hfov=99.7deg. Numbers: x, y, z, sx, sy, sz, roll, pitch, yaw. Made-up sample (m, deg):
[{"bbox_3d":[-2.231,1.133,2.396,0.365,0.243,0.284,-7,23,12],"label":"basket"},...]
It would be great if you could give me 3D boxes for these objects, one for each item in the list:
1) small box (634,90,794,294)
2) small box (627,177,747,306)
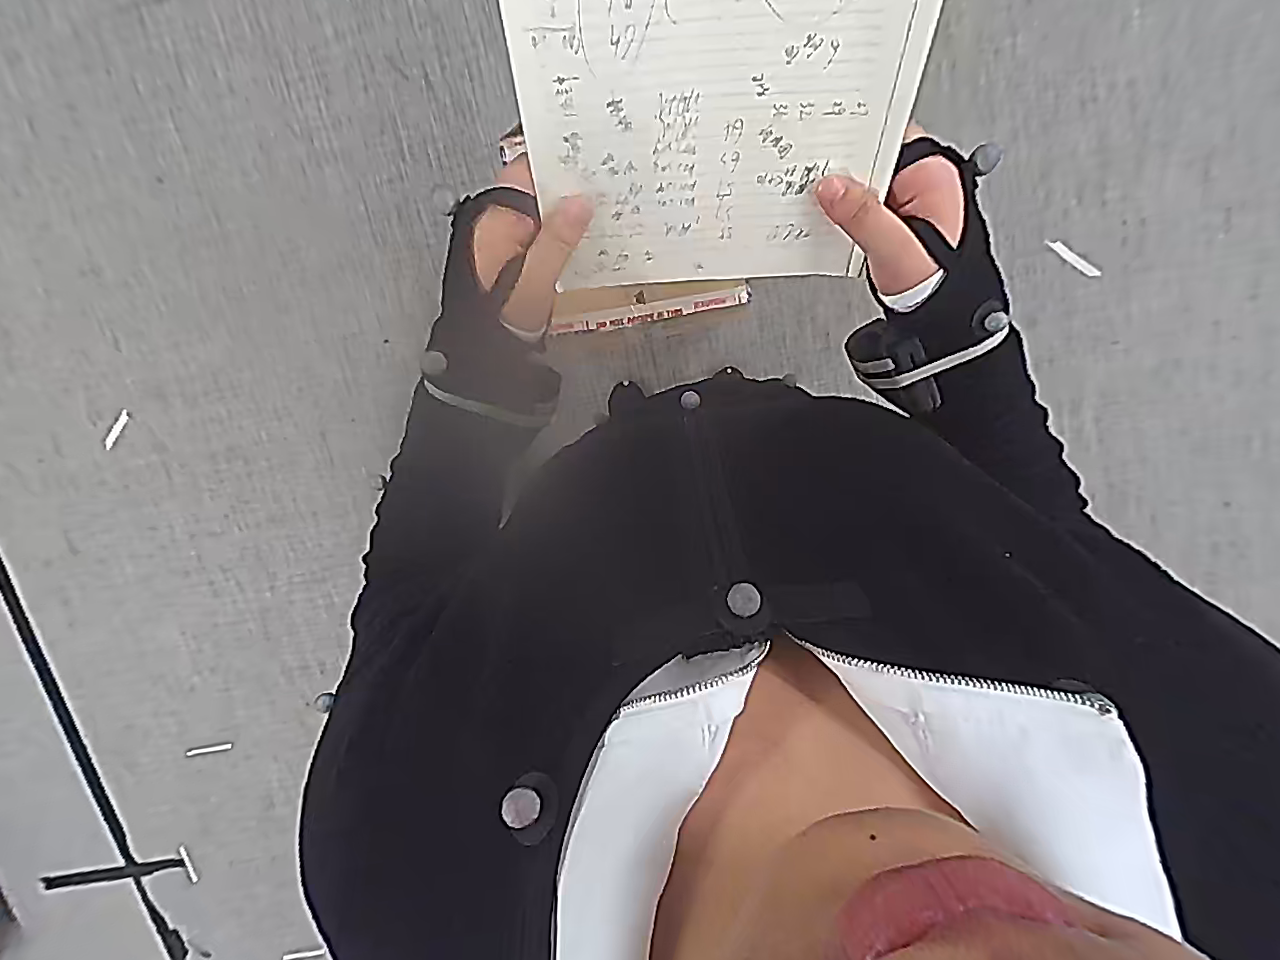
[{"bbox_3d":[0.085,-0.353,0.696,0.168,0.176,0.179,-10,102,2],"label":"small box"},{"bbox_3d":[0.081,-0.384,0.857,0.179,0.176,0.168,-14,101,3],"label":"small box"}]
